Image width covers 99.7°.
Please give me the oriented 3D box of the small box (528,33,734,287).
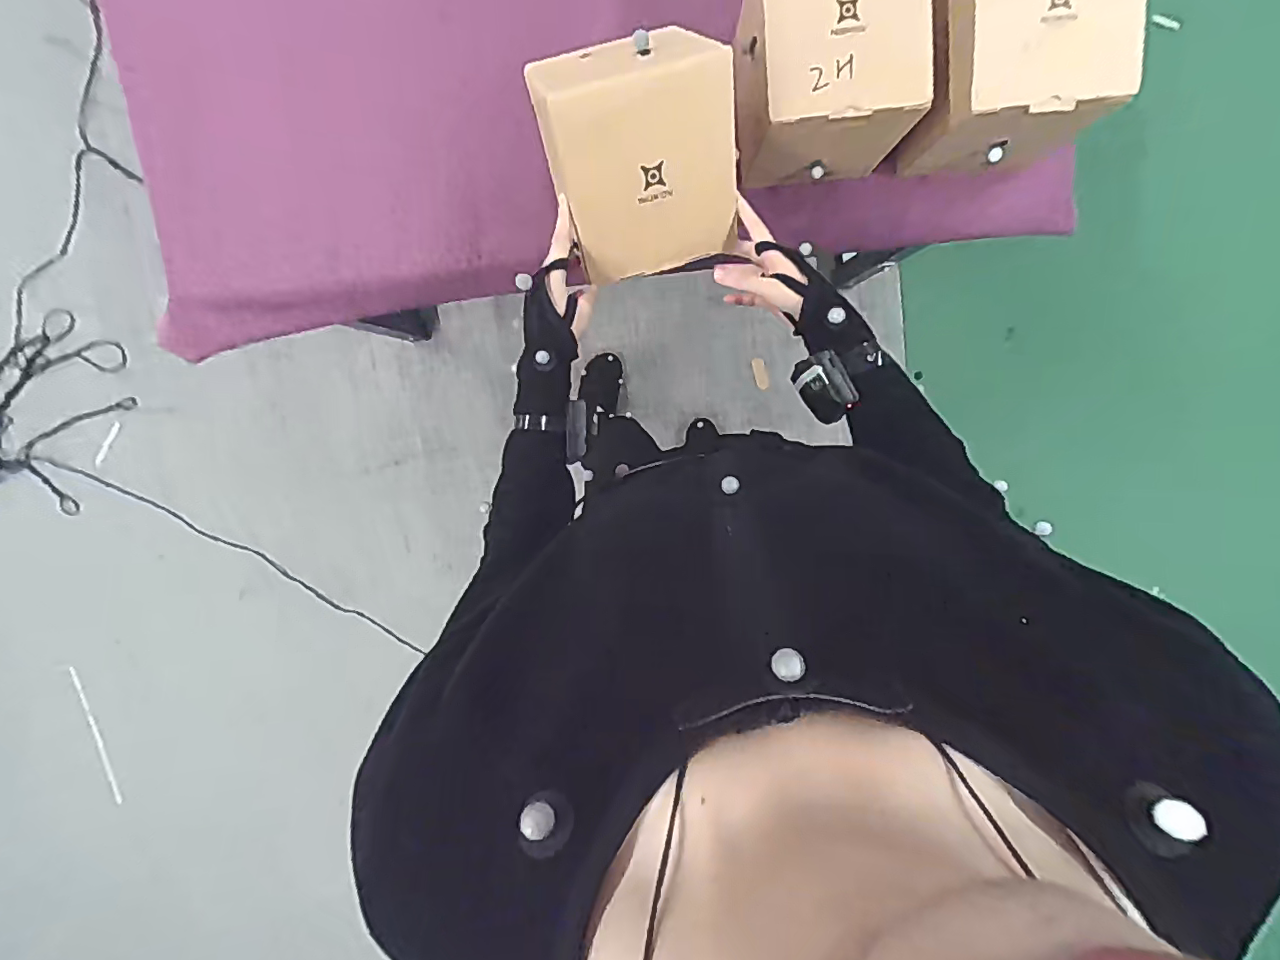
[{"bbox_3d":[-0.010,-0.337,0.564,0.168,0.176,0.179,-16,138,-2],"label":"small box"}]
